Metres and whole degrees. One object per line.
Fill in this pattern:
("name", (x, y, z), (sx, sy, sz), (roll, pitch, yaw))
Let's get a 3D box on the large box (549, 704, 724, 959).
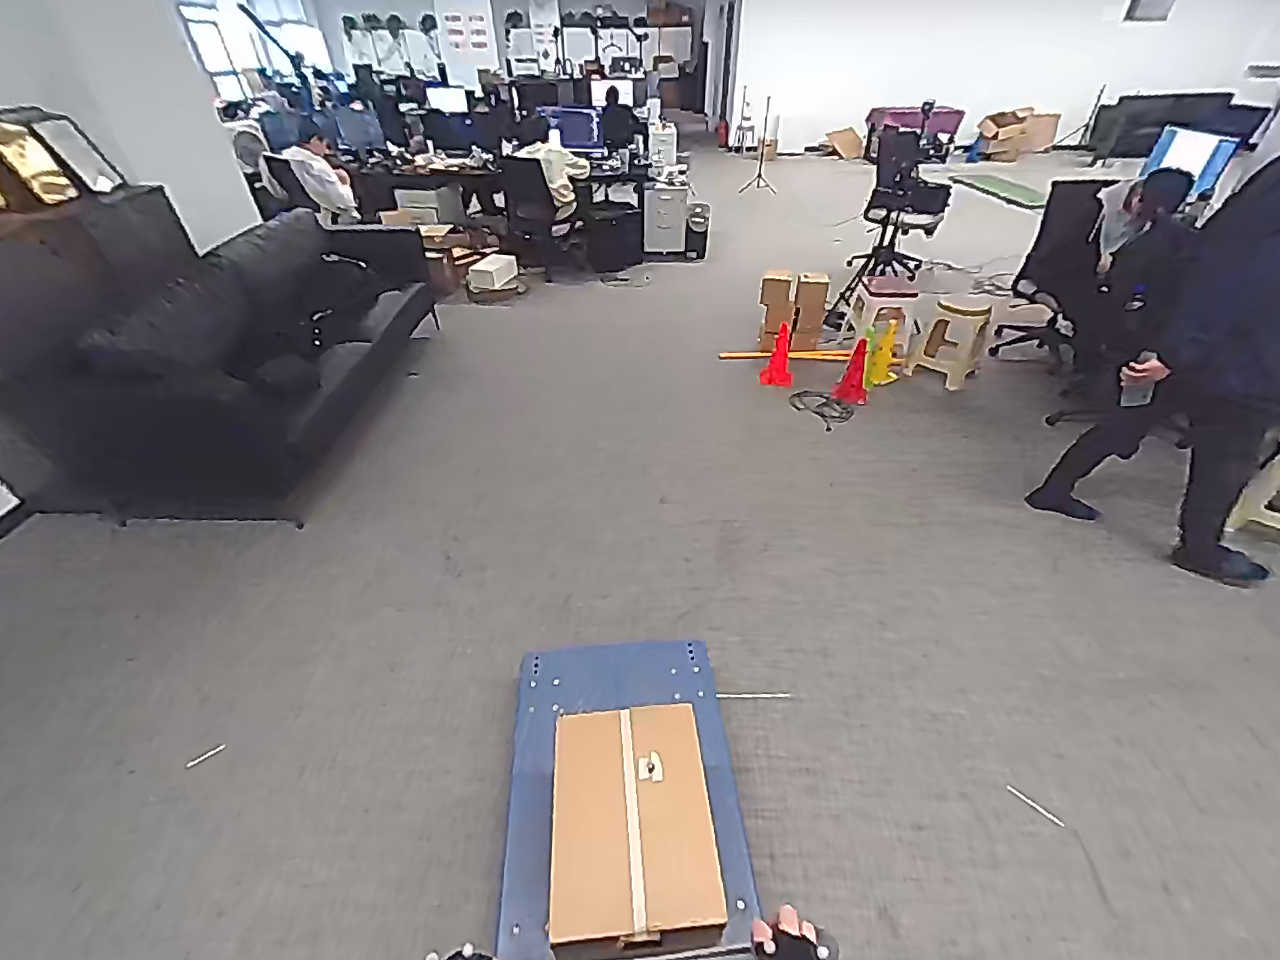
("large box", (-0.019, 0.770, 1.184), (0.320, 0.320, 0.408), (-4, 39, -4))
